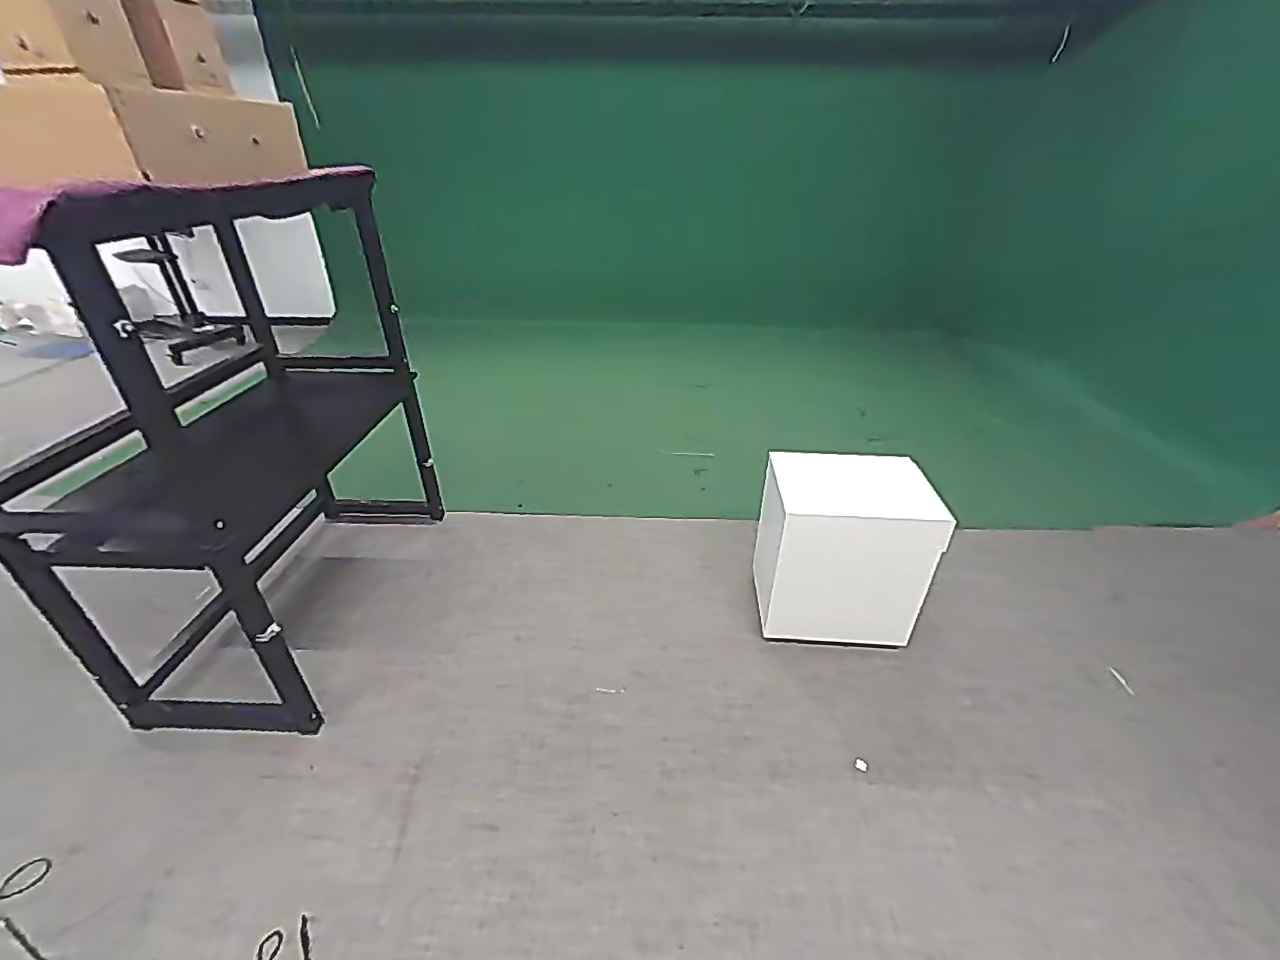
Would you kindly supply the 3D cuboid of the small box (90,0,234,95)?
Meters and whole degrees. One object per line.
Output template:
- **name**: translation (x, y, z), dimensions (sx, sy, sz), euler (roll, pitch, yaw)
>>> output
- **small box**: translation (-1.173, -1.067, 1.343), dimensions (0.179, 0.176, 0.168), euler (2, 33, 3)

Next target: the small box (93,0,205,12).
- **small box**: translation (-1.170, -1.197, 1.244), dimensions (0.179, 0.176, 0.168), euler (2, 33, 4)
